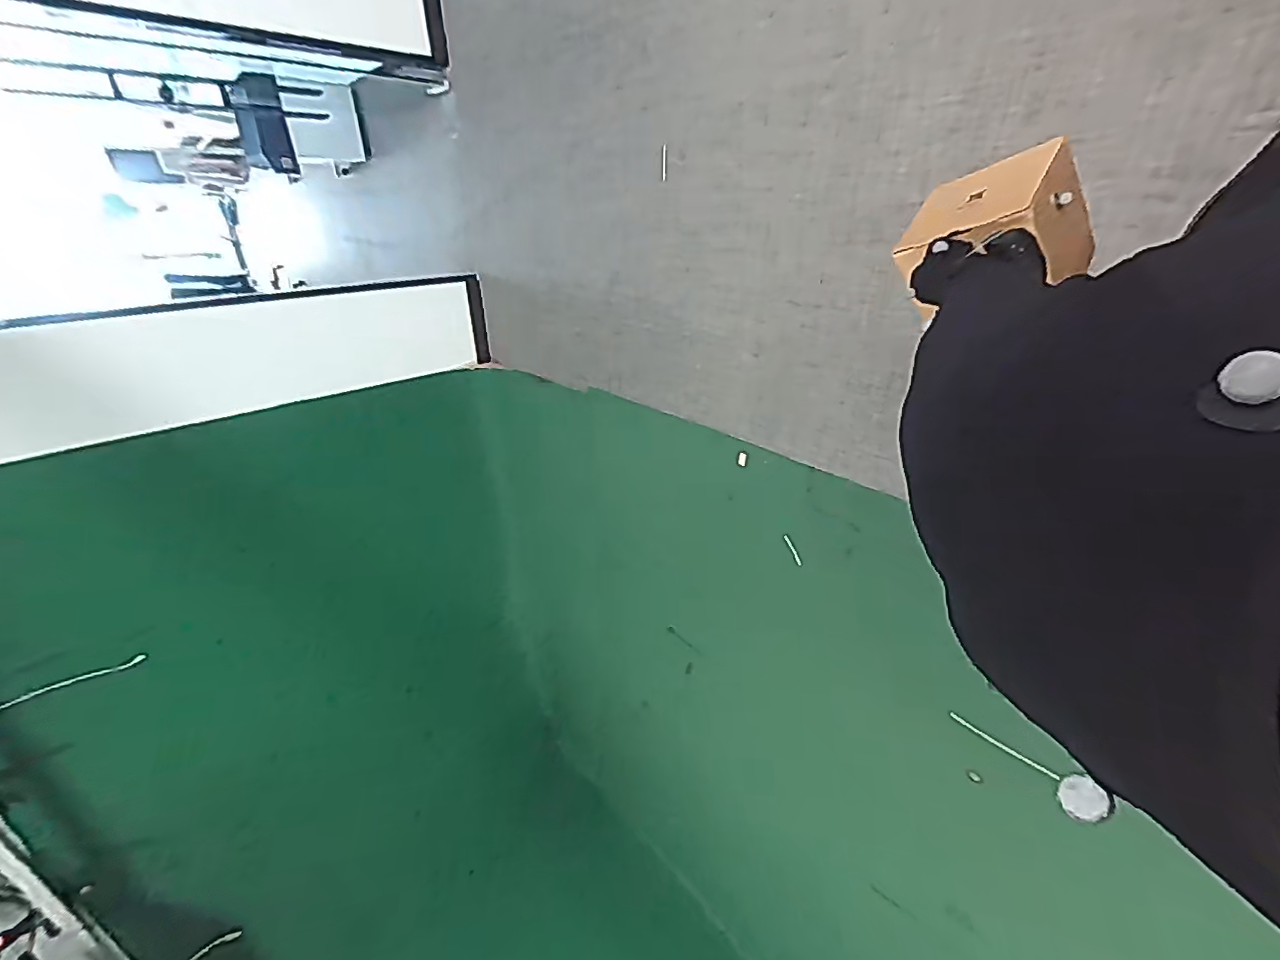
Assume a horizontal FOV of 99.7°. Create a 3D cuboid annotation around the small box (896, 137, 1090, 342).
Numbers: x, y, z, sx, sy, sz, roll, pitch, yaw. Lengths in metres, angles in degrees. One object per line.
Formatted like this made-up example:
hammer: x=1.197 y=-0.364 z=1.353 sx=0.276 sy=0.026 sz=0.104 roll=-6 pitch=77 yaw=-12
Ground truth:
small box: x=0.498 y=-0.323 z=0.756 sx=0.176 sy=0.179 sz=0.168 roll=48 pitch=155 yaw=-26
